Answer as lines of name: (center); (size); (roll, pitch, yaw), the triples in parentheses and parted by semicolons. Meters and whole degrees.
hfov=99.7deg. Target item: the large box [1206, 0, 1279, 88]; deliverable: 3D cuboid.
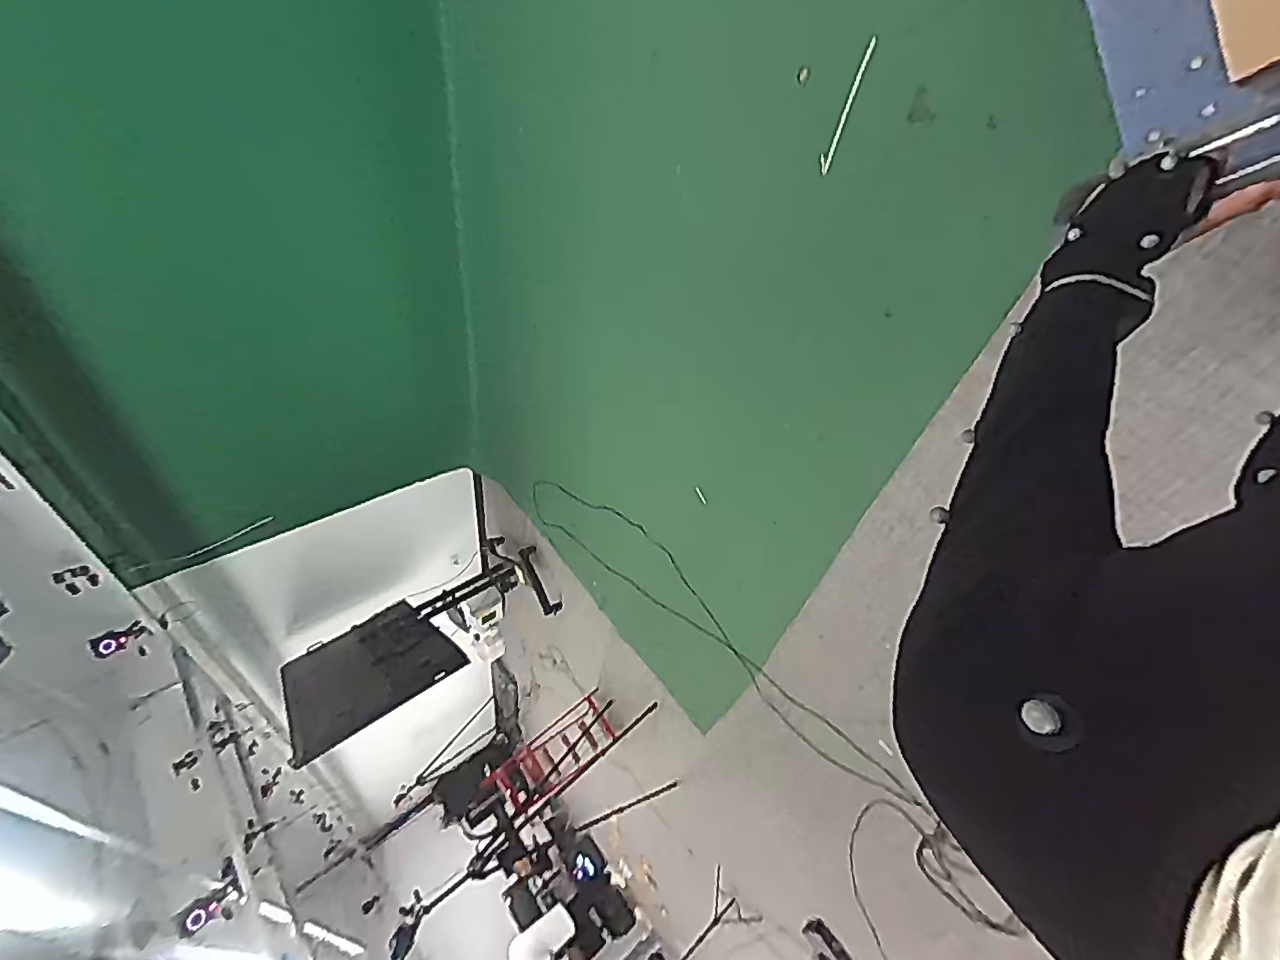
large box: (0.905, -0.774, 0.643); (0.320, 0.320, 0.408); (-11, 101, 56)
